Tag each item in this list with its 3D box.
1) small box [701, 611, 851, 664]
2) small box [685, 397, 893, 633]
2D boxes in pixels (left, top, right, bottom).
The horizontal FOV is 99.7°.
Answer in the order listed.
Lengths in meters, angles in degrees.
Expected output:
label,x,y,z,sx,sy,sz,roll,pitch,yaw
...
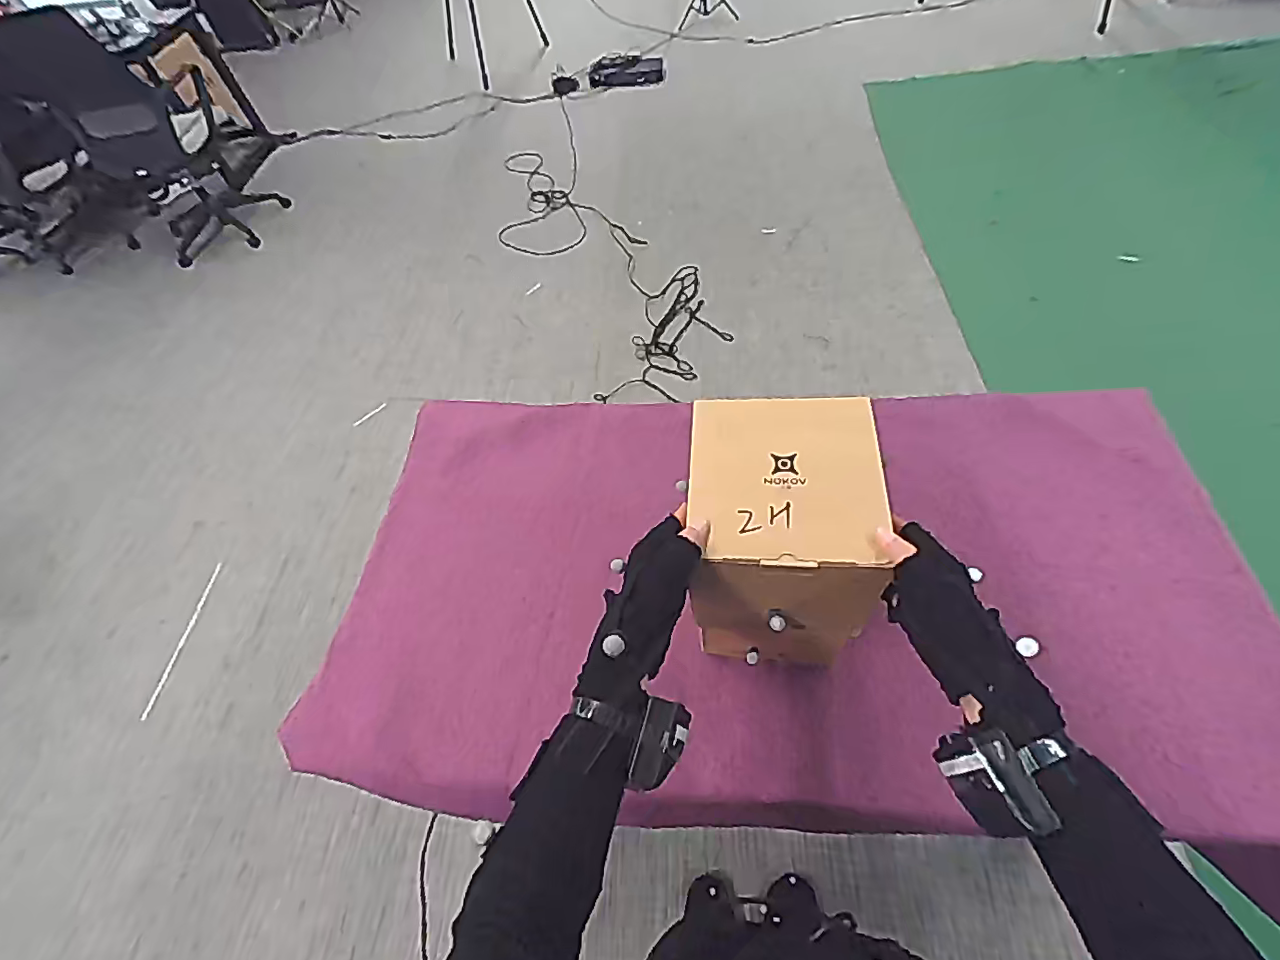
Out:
label,x,y,z,sx,sy,sz,roll,pitch,yaw
small box,0.166,0.115,0.685,0.168,0.176,0.179,2,57,11
small box,0.138,0.036,0.543,0.168,0.176,0.179,1,56,11
